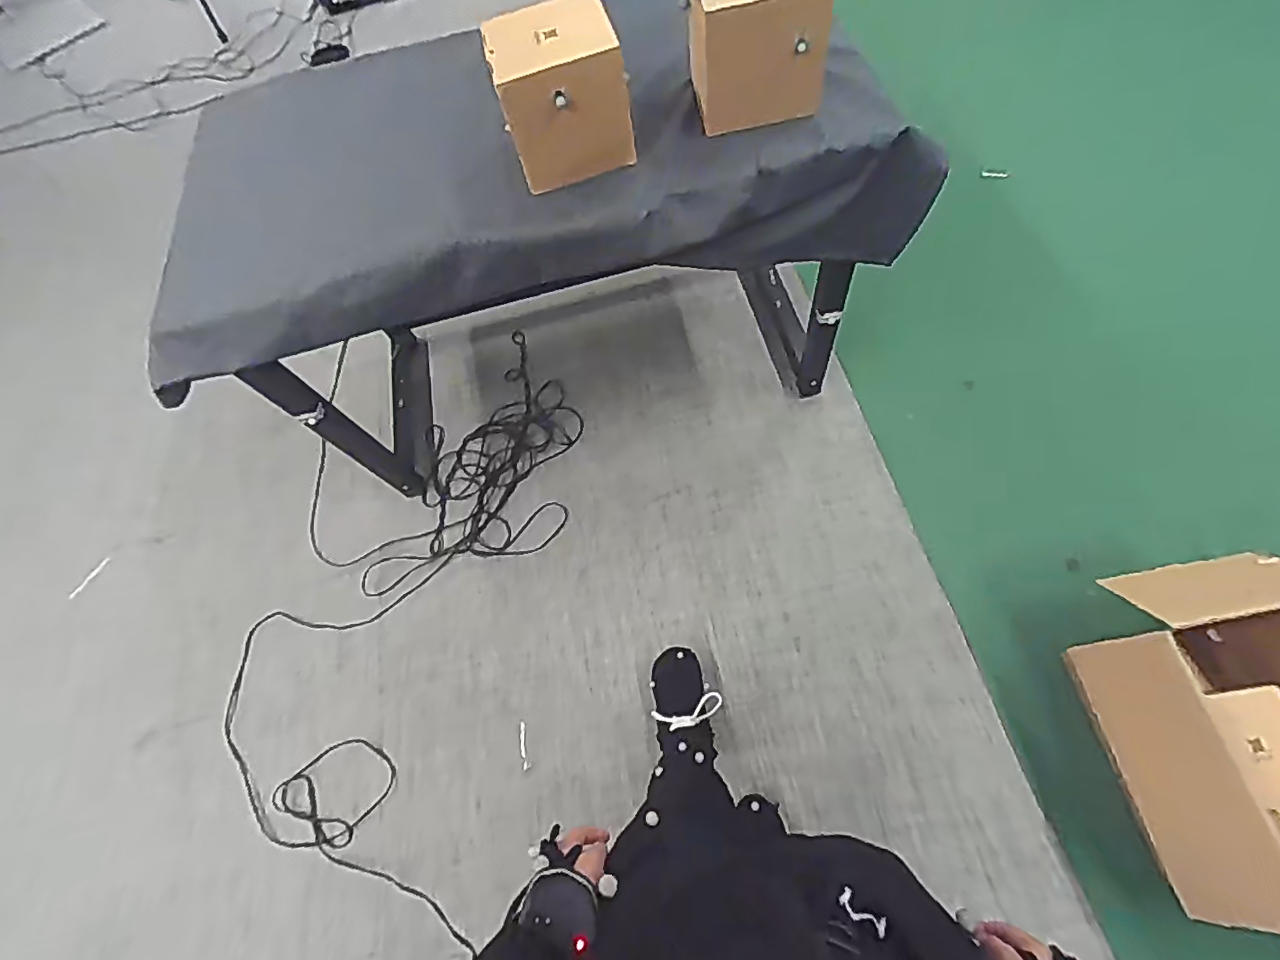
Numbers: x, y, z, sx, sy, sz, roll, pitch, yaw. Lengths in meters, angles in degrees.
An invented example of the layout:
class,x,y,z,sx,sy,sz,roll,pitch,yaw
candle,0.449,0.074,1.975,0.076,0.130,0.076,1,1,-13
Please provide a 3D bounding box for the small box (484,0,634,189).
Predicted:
class,x,y,z,sx,sy,sz,roll,pitch,yaw
small box,-0.112,-0.582,0.817,0.179,0.176,0.168,-17,64,2
